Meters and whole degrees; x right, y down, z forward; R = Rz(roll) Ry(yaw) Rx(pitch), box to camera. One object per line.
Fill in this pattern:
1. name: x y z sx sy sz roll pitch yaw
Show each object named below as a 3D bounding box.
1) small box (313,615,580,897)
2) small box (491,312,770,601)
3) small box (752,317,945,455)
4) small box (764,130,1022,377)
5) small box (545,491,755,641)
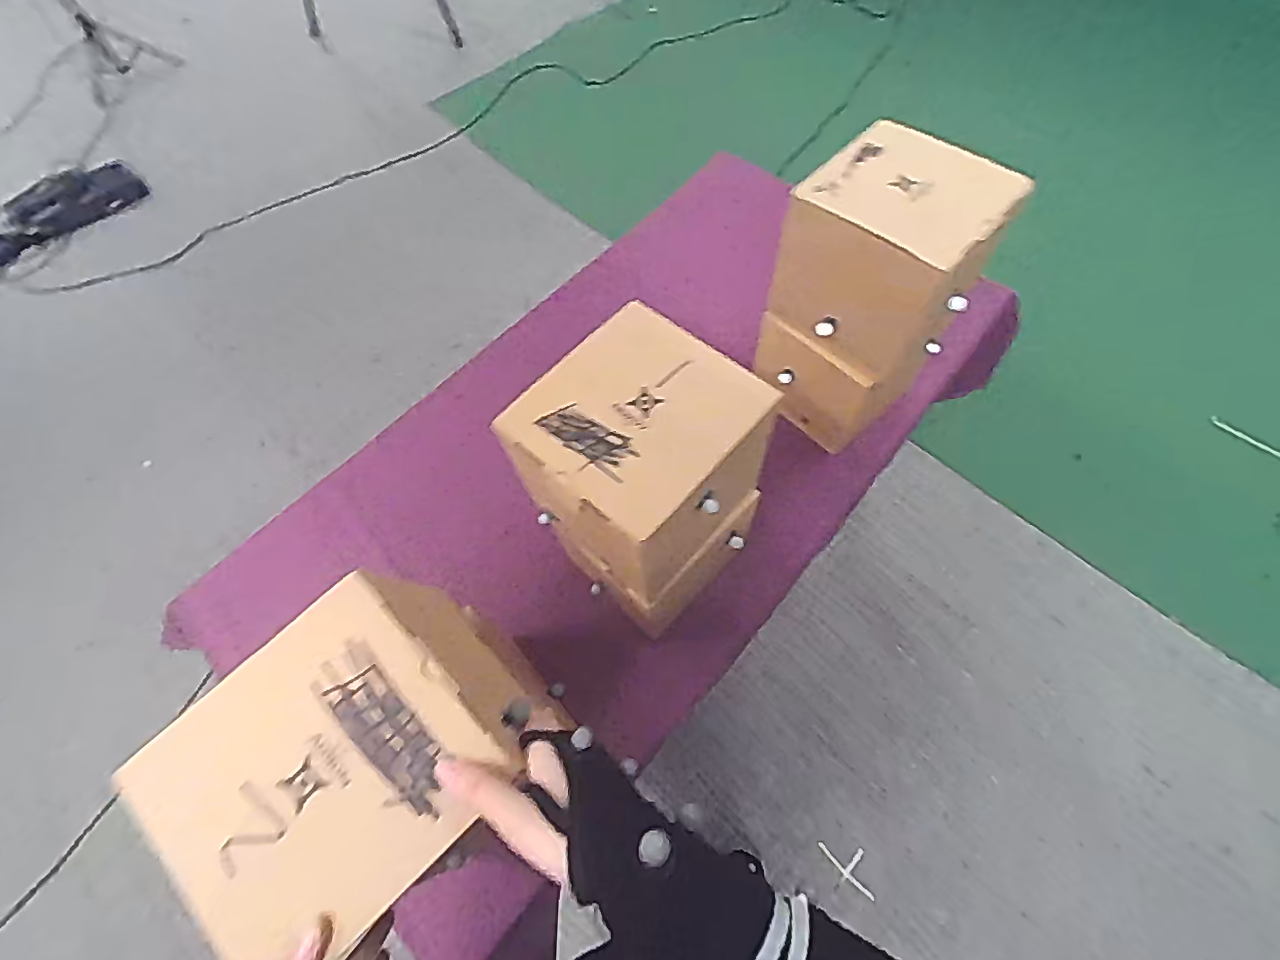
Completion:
1. small box: -0.183 0.275 0.562 0.179 0.176 0.168 -38 67 -16
2. small box: -0.003 -0.013 0.512 0.168 0.176 0.179 38 70 20
3. small box: 0.274 -0.166 0.759 0.179 0.176 0.168 -39 67 -16
4. small box: 0.267 -0.244 0.614 0.179 0.176 0.168 41 71 20
5. small box: 0.012 0.066 0.655 0.179 0.176 0.168 -42 67 -17
